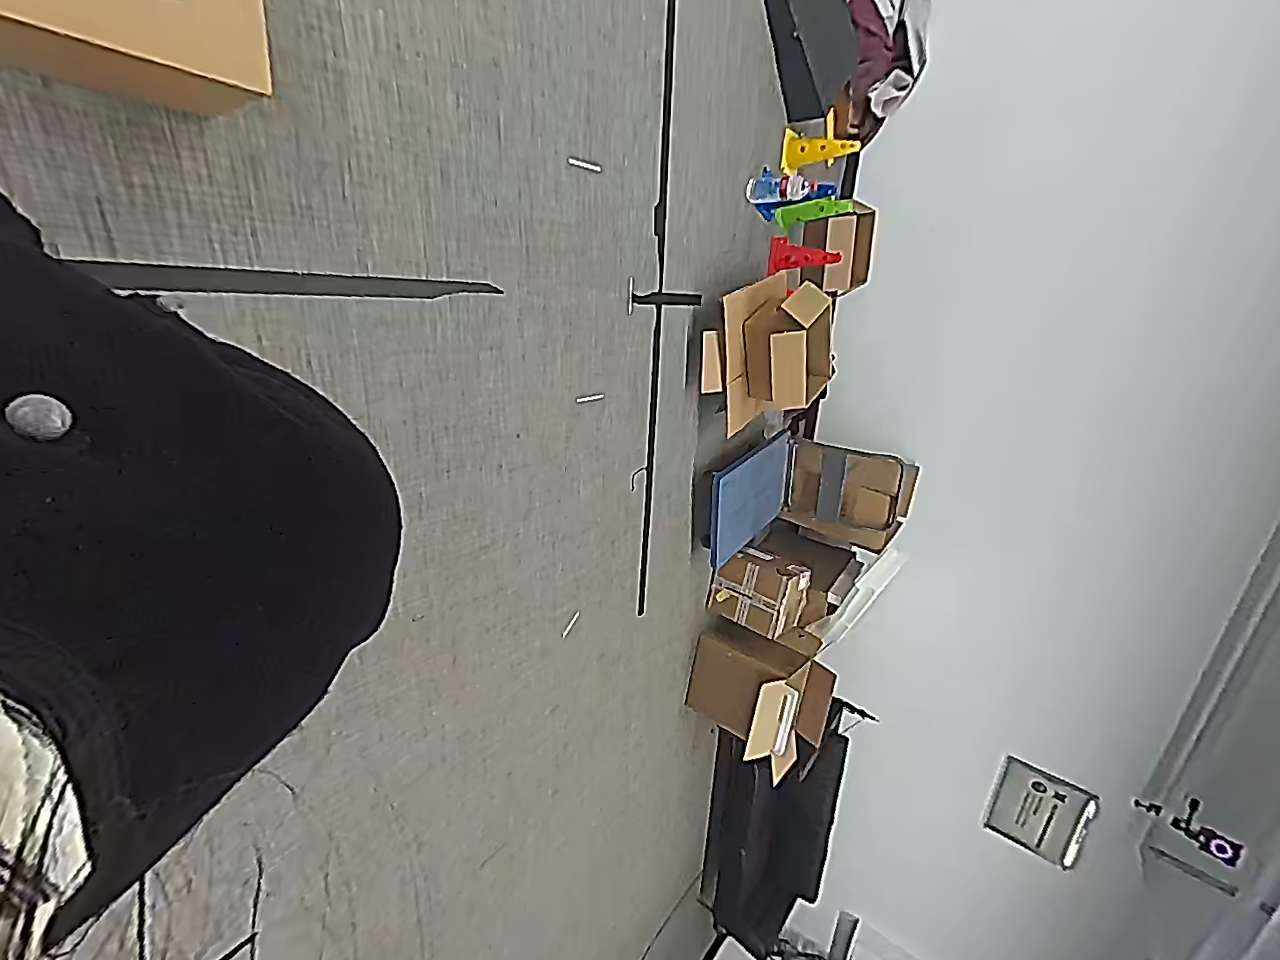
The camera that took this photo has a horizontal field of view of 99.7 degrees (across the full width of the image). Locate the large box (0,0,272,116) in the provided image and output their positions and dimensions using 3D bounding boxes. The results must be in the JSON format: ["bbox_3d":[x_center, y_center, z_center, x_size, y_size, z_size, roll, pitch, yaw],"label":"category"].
[{"bbox_3d":[-0.847,-0.787,0.794,0.408,0.320,0.320,-18,119,-50],"label":"large box"}]
